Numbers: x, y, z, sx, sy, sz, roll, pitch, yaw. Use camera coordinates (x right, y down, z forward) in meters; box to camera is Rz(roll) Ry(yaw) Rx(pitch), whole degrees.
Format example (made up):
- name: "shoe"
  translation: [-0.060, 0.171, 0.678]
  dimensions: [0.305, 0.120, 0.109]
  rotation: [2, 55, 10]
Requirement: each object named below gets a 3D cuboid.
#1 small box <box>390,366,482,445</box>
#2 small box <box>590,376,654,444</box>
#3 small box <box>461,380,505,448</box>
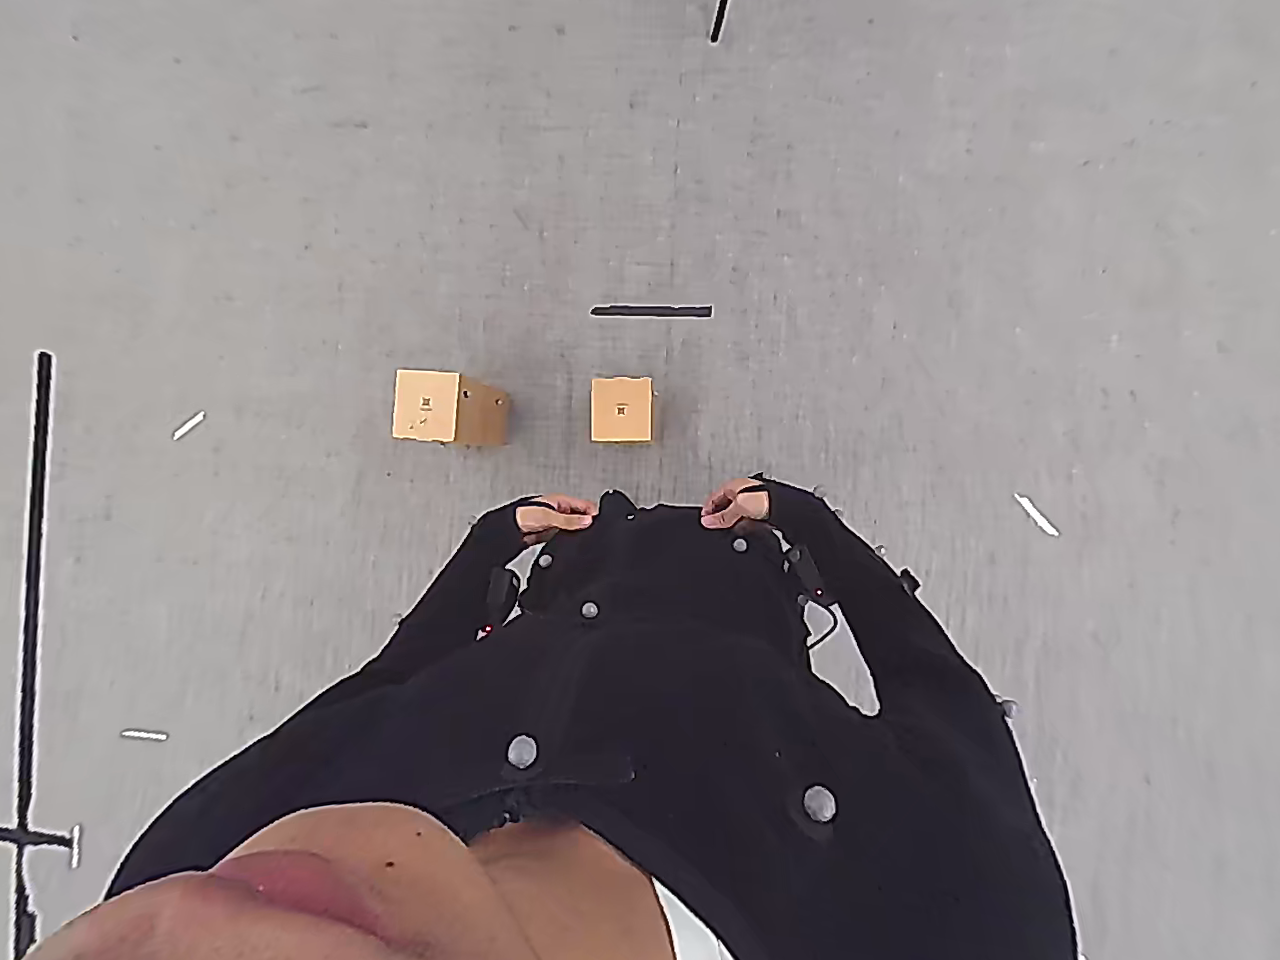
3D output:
- name: "small box"
  translation: [-0.525, -0.189, 1.414]
  dimensions: [0.168, 0.176, 0.179]
  rotation: [5, 91, 6]
- name: "small box"
  translation: [-0.048, -0.194, 1.541]
  dimensions: [0.168, 0.176, 0.179]
  rotation: [0, 89, 5]
- name: "small box"
  translation: [-0.503, -0.193, 1.577]
  dimensions: [0.168, 0.176, 0.179]
  rotation: [6, 90, 6]
